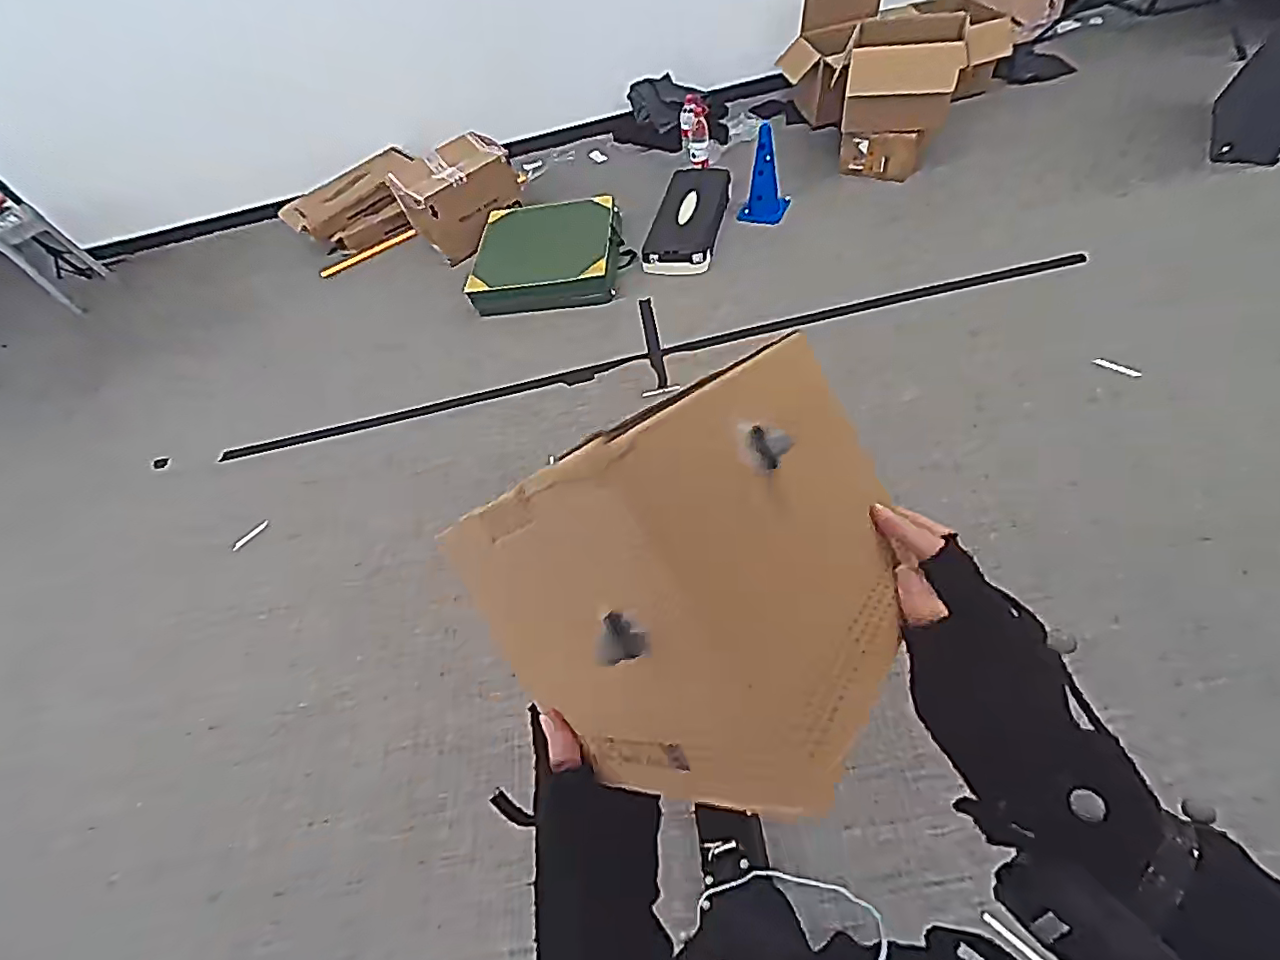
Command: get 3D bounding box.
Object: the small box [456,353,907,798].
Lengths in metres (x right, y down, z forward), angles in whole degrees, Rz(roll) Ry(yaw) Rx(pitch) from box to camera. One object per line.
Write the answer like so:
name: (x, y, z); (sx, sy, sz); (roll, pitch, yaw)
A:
small box: (0.031, 0.053, 0.325); (0.179, 0.168, 0.176); (-32, 96, -45)
